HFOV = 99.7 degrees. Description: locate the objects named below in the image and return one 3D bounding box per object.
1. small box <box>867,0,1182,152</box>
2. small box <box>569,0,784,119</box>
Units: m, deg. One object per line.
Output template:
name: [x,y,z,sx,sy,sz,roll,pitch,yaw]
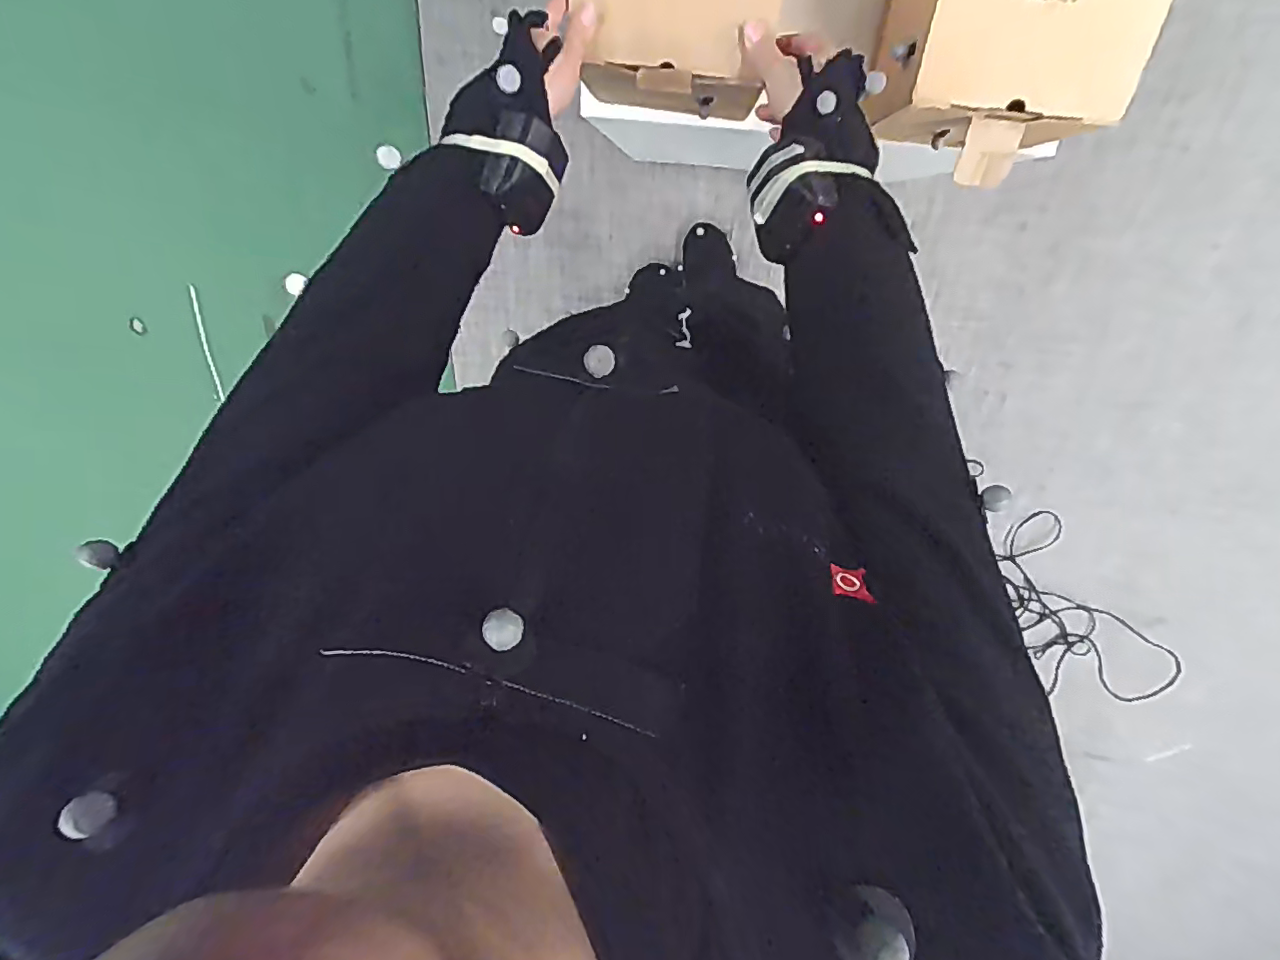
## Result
small box: [0.314,-0.396,0.458,0.168,0.176,0.179,7,116,2]
small box: [0.040,-0.435,0.468,0.168,0.176,0.179,8,115,0]
